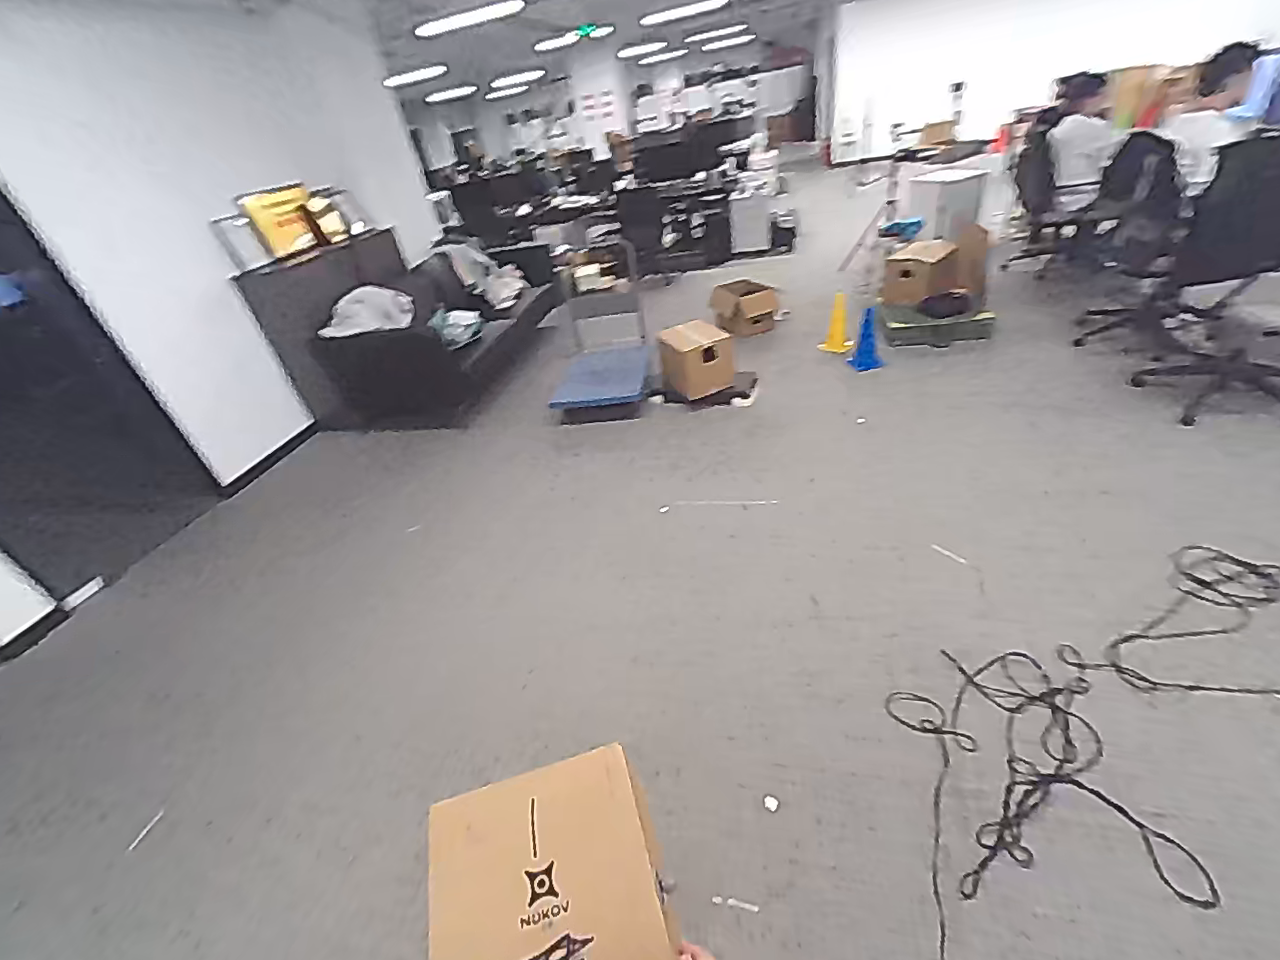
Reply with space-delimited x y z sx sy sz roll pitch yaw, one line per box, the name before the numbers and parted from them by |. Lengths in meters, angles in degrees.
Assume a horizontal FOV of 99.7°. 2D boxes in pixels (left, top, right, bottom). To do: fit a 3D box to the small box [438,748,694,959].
small box | -0.054 0.357 0.447 0.168 0.176 0.179 -15 46 -5
